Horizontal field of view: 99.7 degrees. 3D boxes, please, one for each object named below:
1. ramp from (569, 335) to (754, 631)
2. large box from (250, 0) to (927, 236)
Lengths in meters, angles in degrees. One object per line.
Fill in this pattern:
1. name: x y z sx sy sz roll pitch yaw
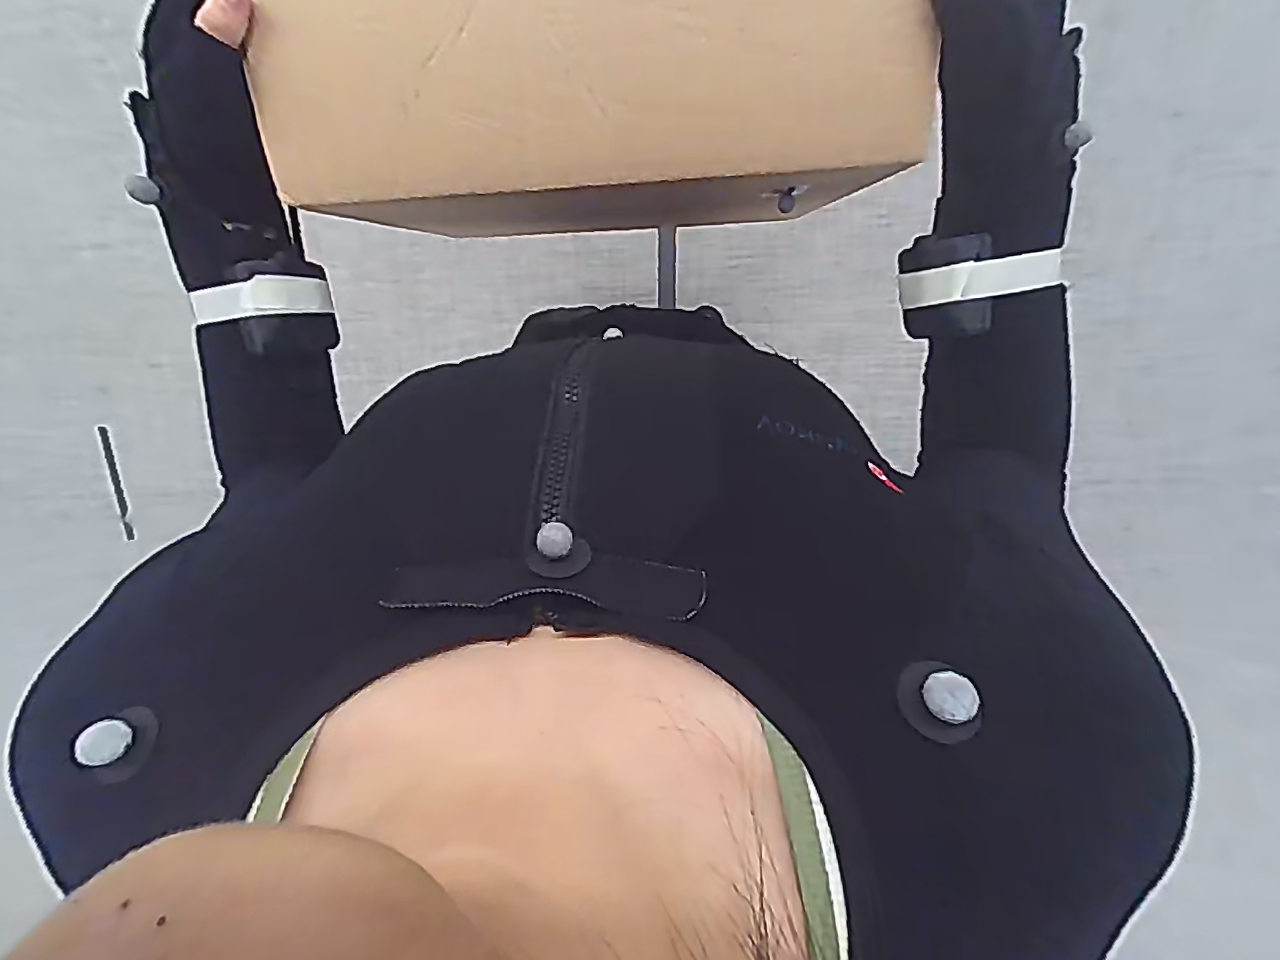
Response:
1. ramp: 0.074 0.071 1.632 0.509 0.206 0.991 -2 107 4
2. large box: -0.029 -0.386 0.437 0.408 0.320 0.320 -2 110 3
